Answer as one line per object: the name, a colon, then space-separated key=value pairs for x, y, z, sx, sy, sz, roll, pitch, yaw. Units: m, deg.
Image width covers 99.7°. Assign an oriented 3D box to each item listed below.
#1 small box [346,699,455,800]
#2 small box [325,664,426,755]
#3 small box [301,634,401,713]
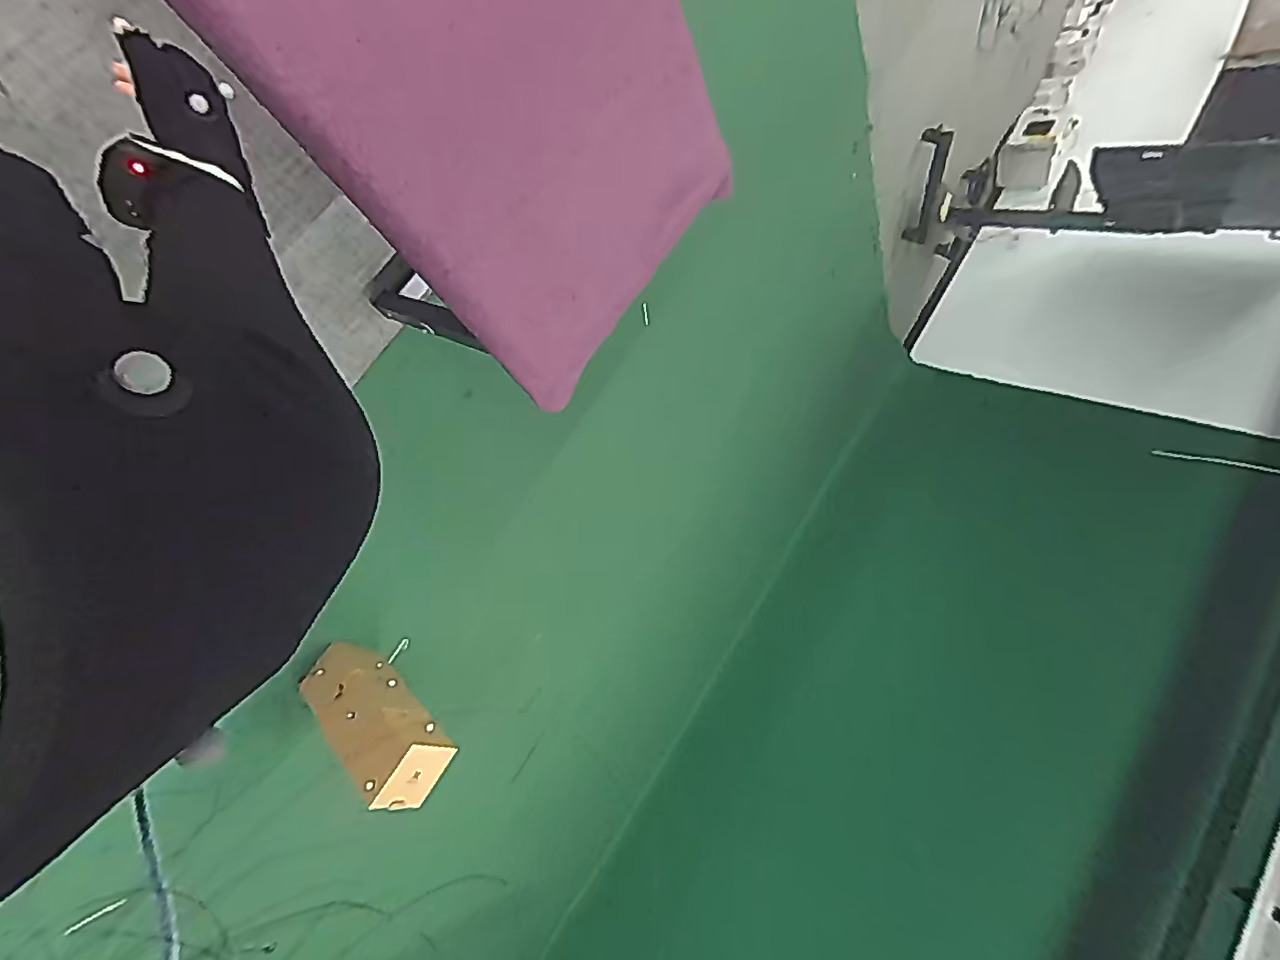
small box: x=-0.639 y=0.710 z=1.434 sx=0.179 sy=0.176 sz=0.168 roll=-55 pitch=142 yaw=-9
small box: x=-0.755 y=0.655 z=1.529 sx=0.179 sy=0.176 sz=0.168 roll=-53 pitch=143 yaw=-11
small box: x=-0.871 y=0.589 z=1.629 sx=0.168 sy=0.176 sz=0.179 roll=-56 pitch=142 yaw=-10
